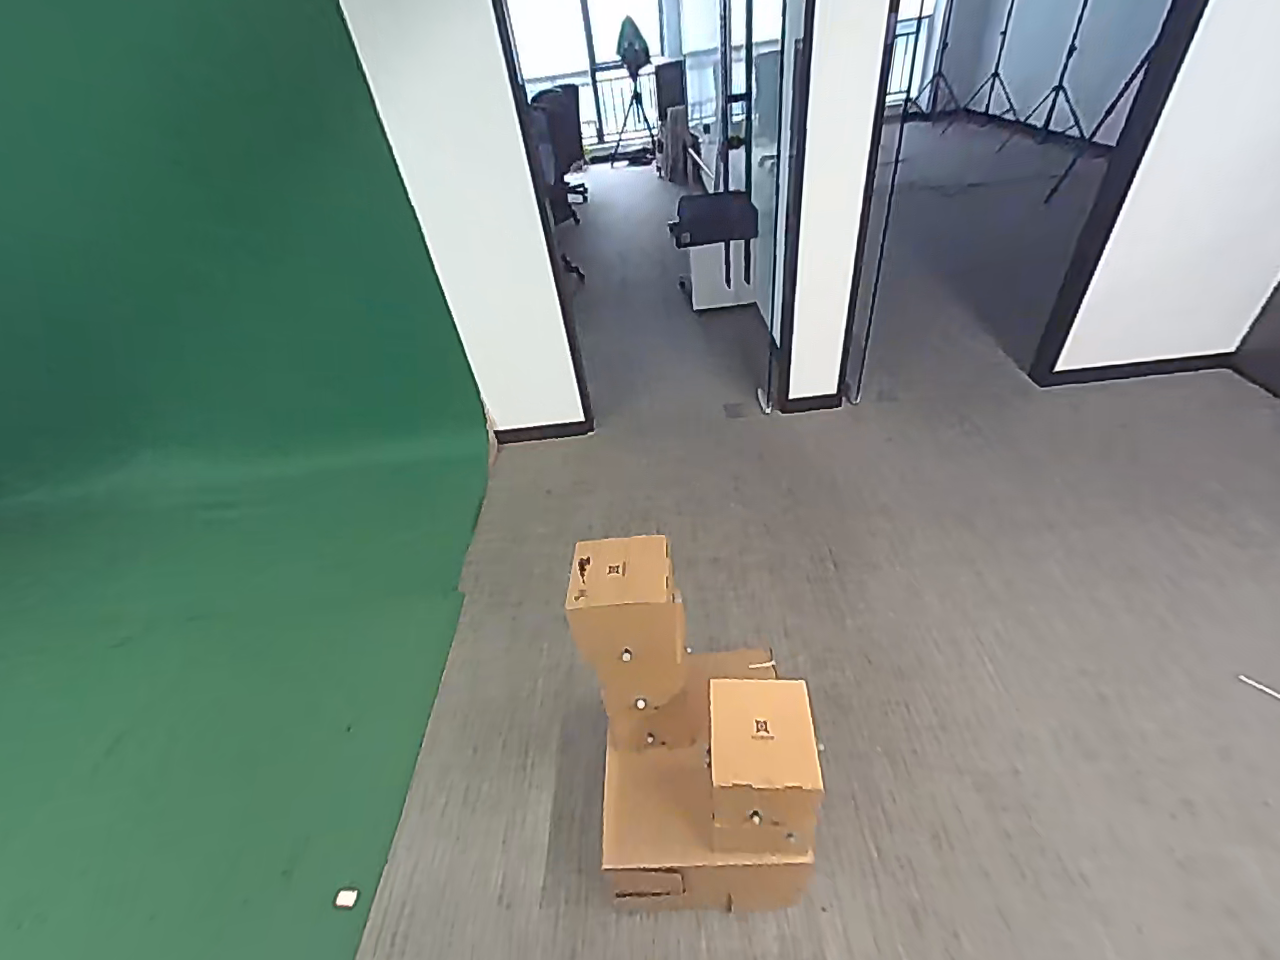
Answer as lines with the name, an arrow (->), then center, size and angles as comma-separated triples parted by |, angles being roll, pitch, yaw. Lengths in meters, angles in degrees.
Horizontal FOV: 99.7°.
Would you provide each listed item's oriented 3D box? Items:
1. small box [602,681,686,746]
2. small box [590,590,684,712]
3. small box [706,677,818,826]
small box -> 0.014, 0.470, 1.216 | 0.168, 0.176, 0.179 | -6, 36, 5
small box -> 0.001, 0.348, 1.105 | 0.168, 0.176, 0.179 | -4, 37, 6
small box -> 0.198, 0.462, 0.928 | 0.168, 0.176, 0.179 | -2, 39, 6
